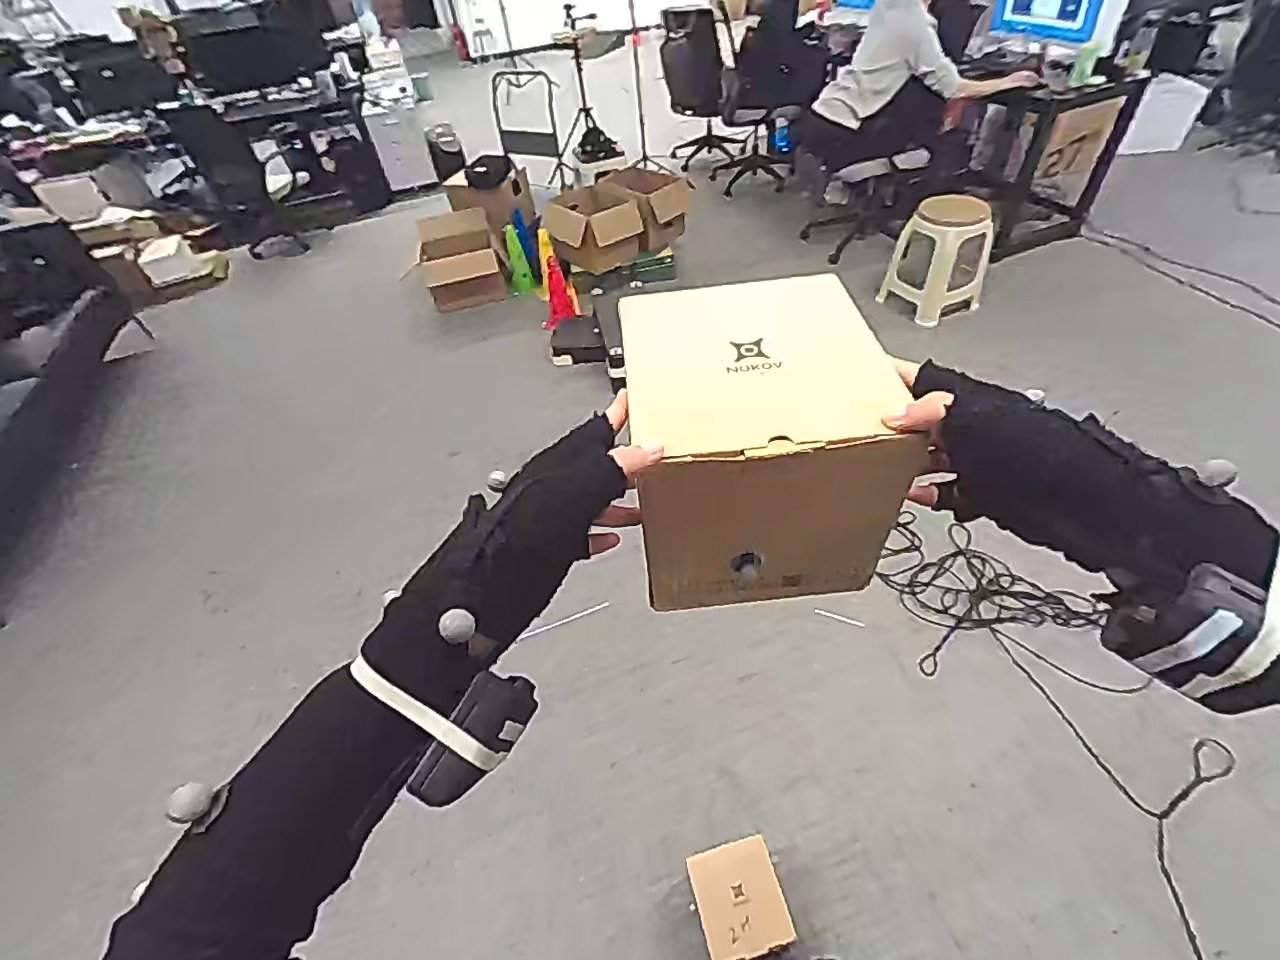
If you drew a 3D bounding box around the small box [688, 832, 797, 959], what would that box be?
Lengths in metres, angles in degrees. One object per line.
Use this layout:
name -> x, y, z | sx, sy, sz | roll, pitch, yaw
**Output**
small box -> 0.202, 0.860, 1.106 | 0.168, 0.176, 0.179 | -15, 47, -5
